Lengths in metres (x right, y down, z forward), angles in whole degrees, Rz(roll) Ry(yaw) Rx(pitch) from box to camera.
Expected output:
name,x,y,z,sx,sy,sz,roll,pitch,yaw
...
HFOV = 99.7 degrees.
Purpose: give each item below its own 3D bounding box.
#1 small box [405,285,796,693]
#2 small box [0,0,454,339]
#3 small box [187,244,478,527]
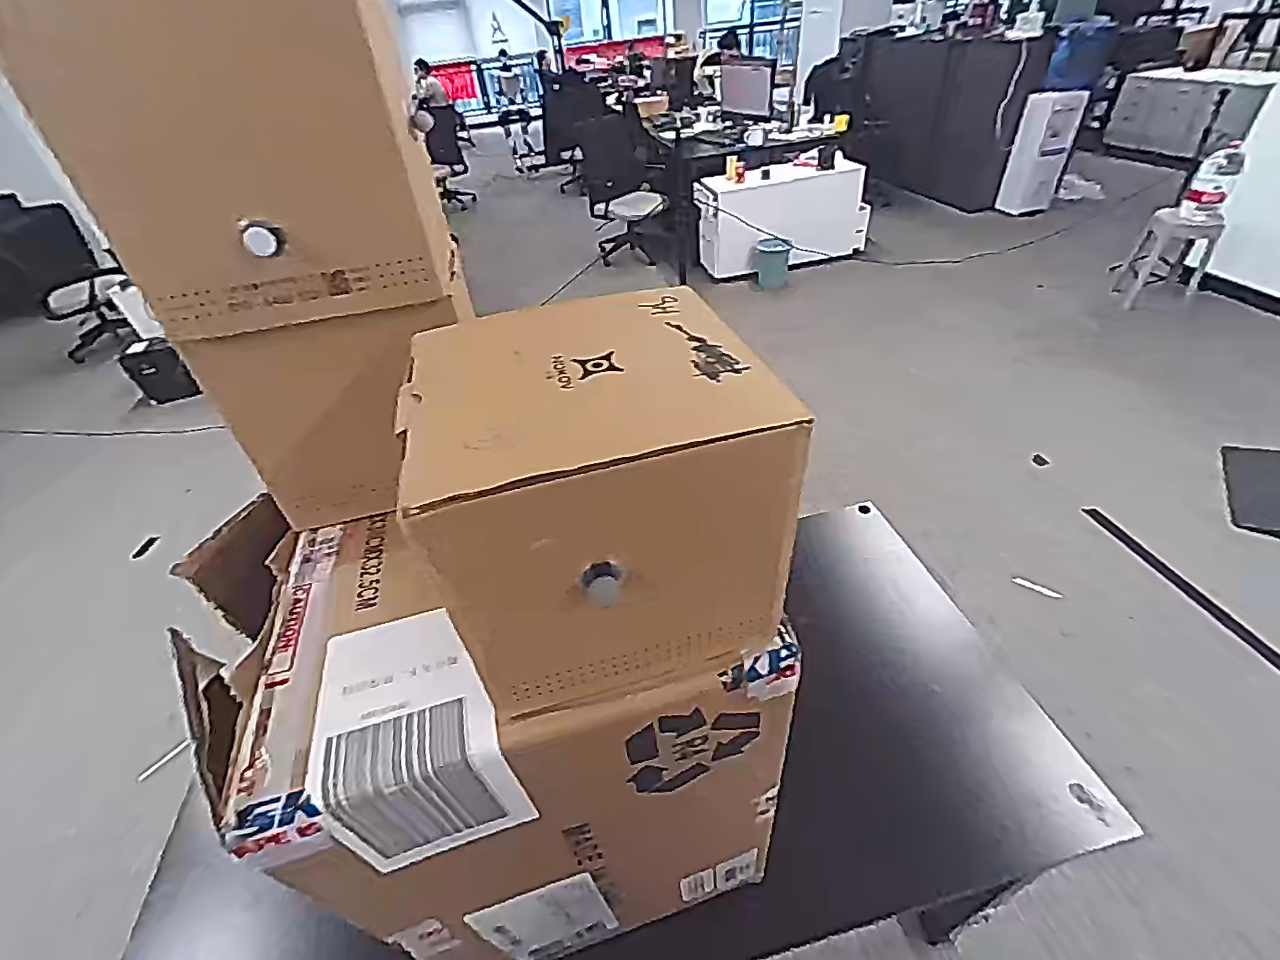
name,x,y,z,sx,sy,sz,roll,pitch,yaw
small box,-0.025,0.004,0.337,0.179,0.176,0.168,-14,43,-9
small box,-0.232,-0.212,0.364,0.168,0.176,0.179,-13,39,-9
small box,-0.222,-0.086,0.470,0.179,0.176,0.168,-14,38,-9
